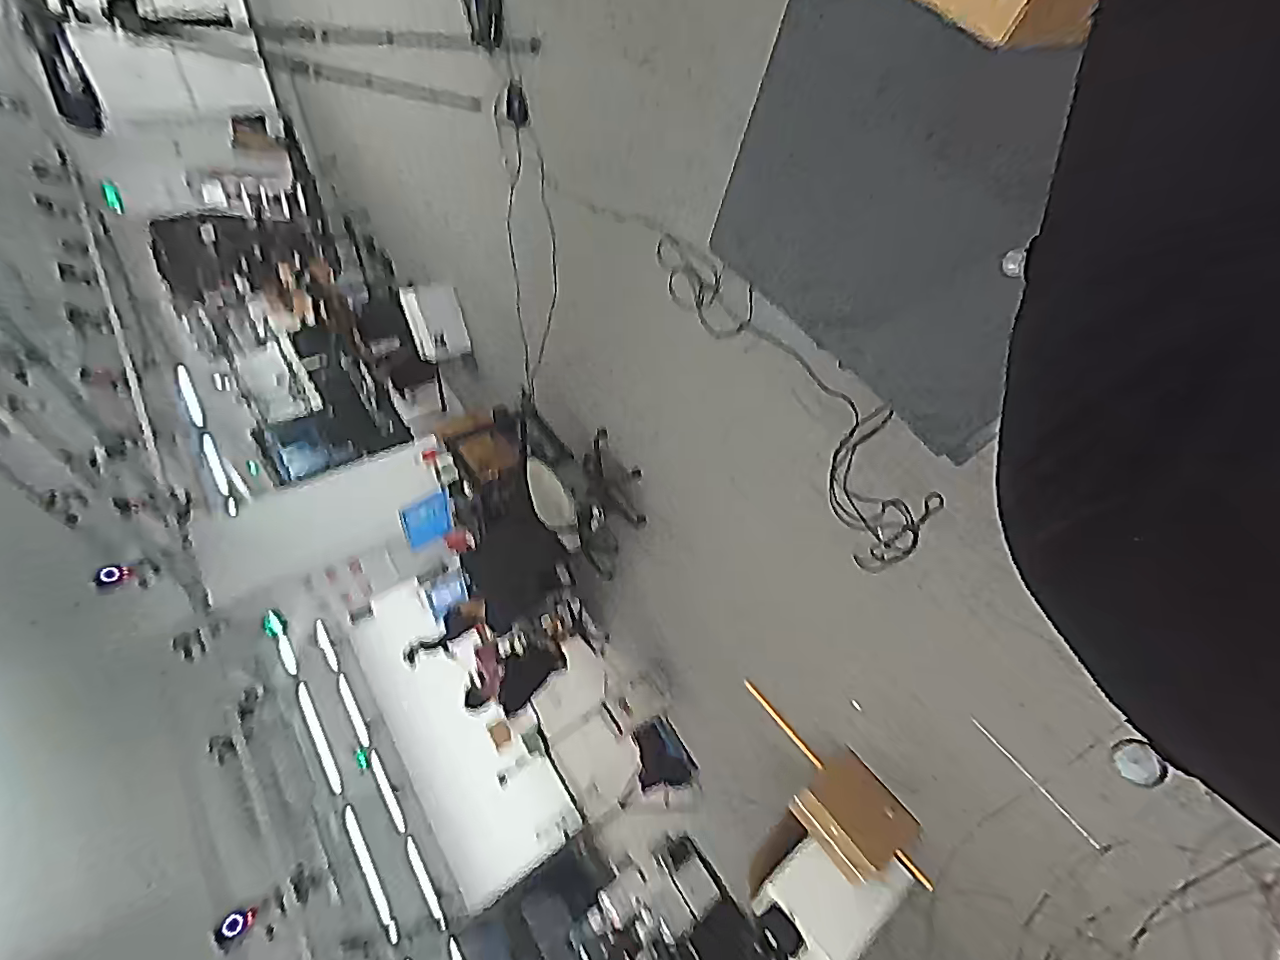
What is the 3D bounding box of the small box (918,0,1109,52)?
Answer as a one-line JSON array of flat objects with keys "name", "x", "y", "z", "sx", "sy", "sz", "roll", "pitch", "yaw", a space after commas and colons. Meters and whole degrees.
[{"name": "small box", "x": 0.350, "y": -0.512, "z": 0.469, "sx": 0.179, "sy": 0.176, "sz": 0.168, "roll": 54, "pitch": 151, "yaw": 20}]
